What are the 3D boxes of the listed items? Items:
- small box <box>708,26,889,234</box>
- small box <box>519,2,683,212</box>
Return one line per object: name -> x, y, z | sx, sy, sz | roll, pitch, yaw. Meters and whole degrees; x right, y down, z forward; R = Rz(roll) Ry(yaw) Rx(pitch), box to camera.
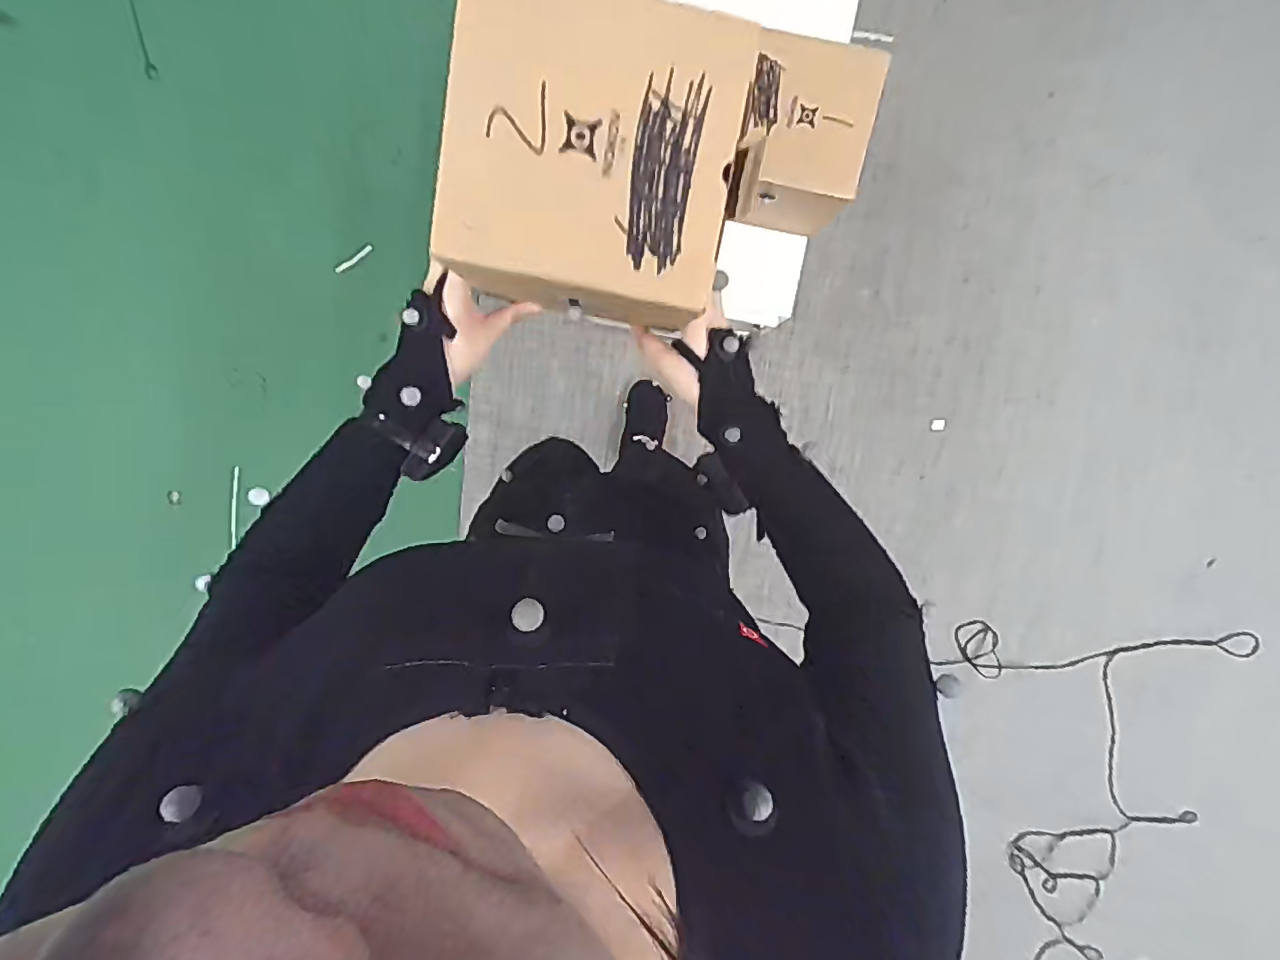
small box -> 0.195, -0.450, 0.726 | 0.179, 0.176, 0.168 | 13, 100, 0
small box -> -0.047, -0.482, 0.728 | 0.179, 0.176, 0.168 | 11, 100, -1
